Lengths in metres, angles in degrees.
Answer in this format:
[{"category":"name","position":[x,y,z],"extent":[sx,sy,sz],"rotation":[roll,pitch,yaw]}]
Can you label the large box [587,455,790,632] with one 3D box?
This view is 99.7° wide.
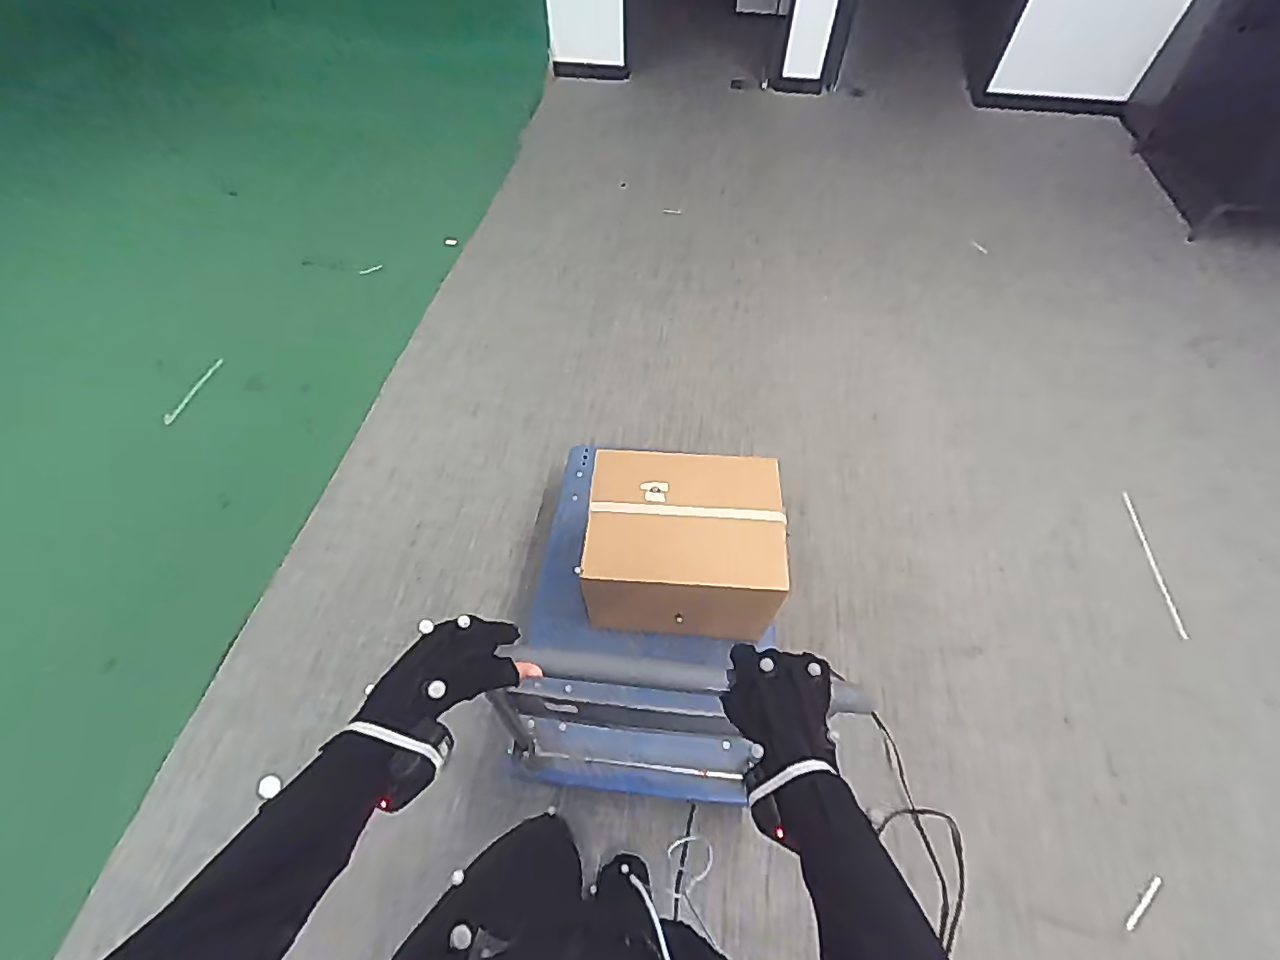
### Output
[{"category":"large box","position":[0.104,0.156,1.256],"extent":[0.408,0.320,0.320],"rotation":[2,56,3]}]
